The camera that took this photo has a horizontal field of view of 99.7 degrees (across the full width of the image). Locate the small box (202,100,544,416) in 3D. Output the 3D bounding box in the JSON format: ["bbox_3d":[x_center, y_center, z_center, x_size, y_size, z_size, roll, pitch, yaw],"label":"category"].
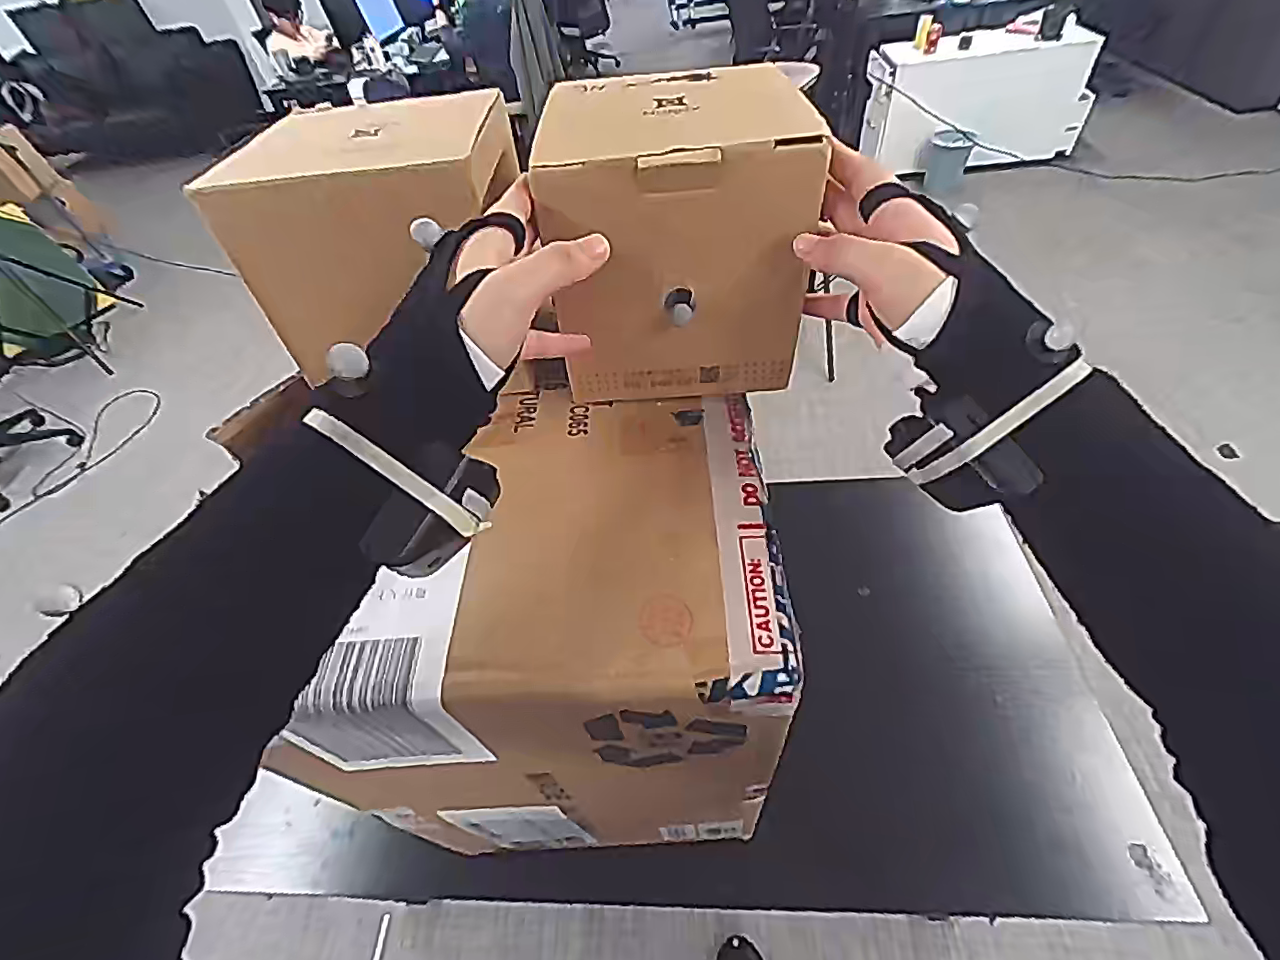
[{"bbox_3d":[-0.177,-0.174,0.430,0.168,0.176,0.179,-7,48,1],"label":"small box"}]

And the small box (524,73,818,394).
[{"bbox_3d":[0.020,-0.177,0.407,0.168,0.176,0.179,-3,49,1],"label":"small box"}]
